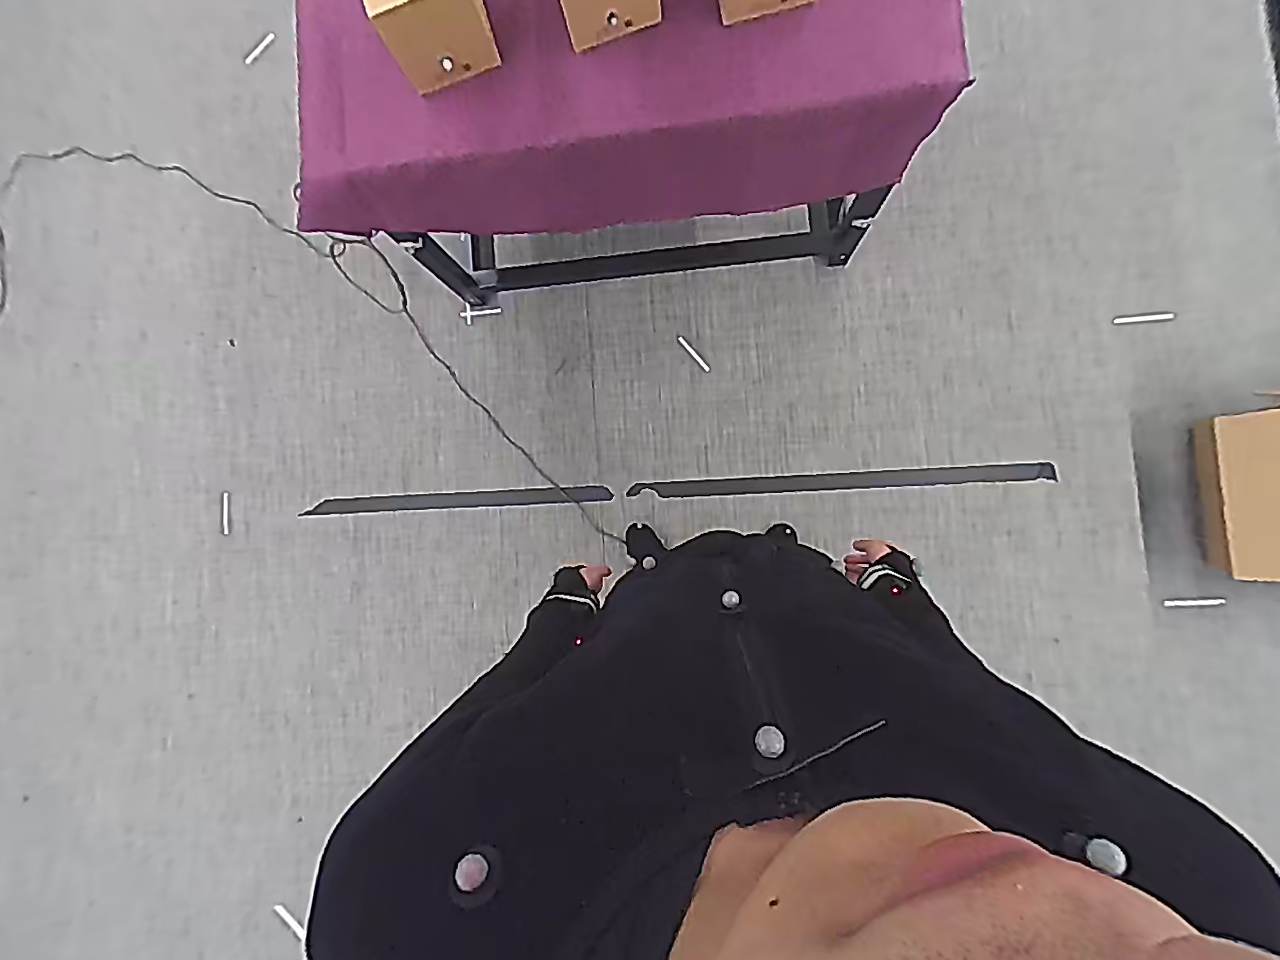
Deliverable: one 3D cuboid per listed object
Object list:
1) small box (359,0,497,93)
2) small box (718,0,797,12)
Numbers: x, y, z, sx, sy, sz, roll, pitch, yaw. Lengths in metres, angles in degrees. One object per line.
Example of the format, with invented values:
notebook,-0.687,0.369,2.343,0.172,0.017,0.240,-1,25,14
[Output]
small box,-0.366,-0.817,0.916,0.168,0.176,0.179,-18,86,5
small box,0.198,-0.897,0.857,0.168,0.176,0.179,-10,86,5
